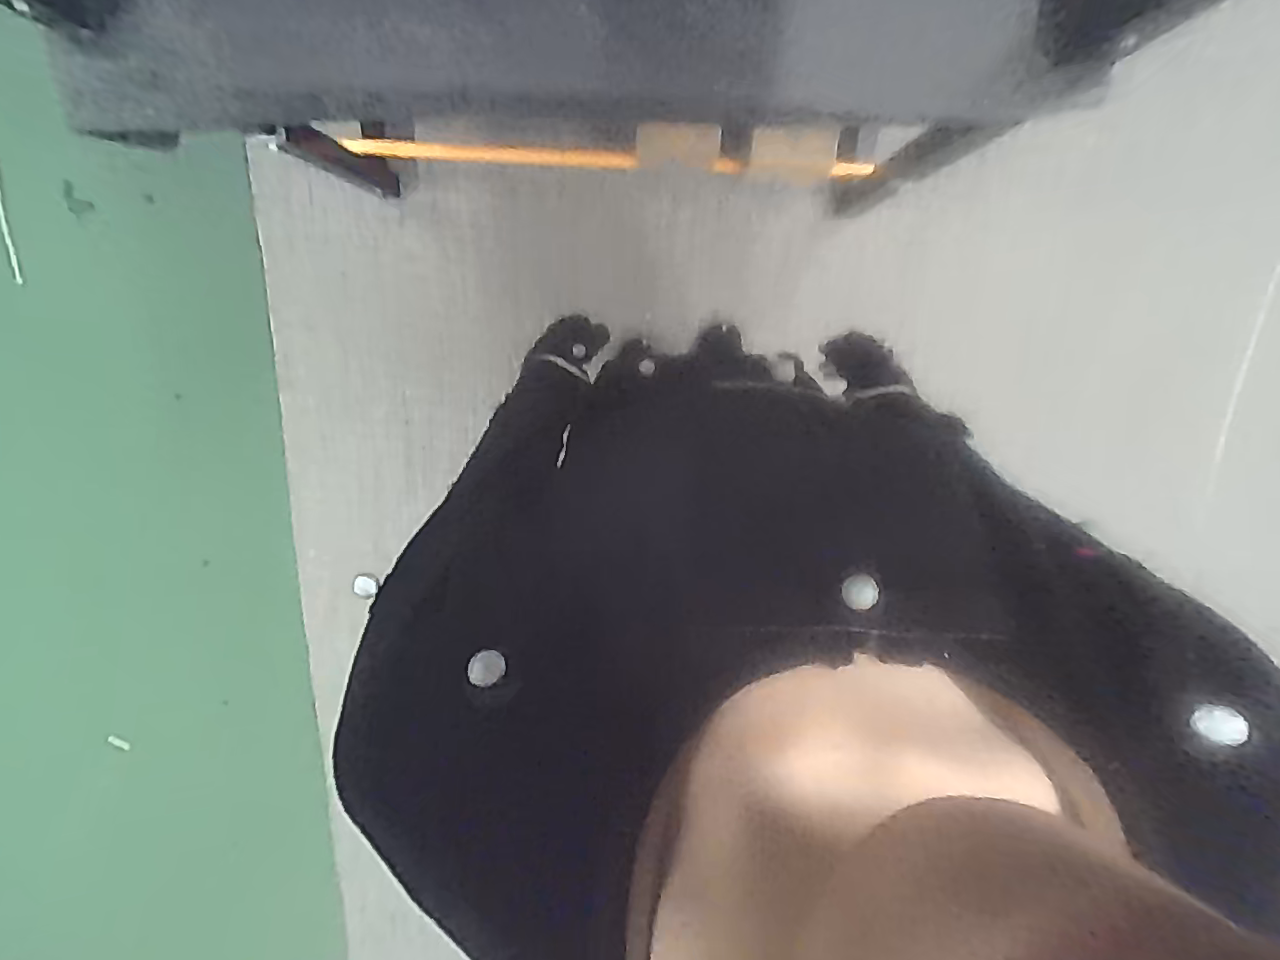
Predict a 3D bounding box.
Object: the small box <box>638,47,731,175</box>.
[{"bbox_3d":[0.086,-0.737,1.099,0.168,0.176,0.179,3,106,1],"label":"small box"}]
